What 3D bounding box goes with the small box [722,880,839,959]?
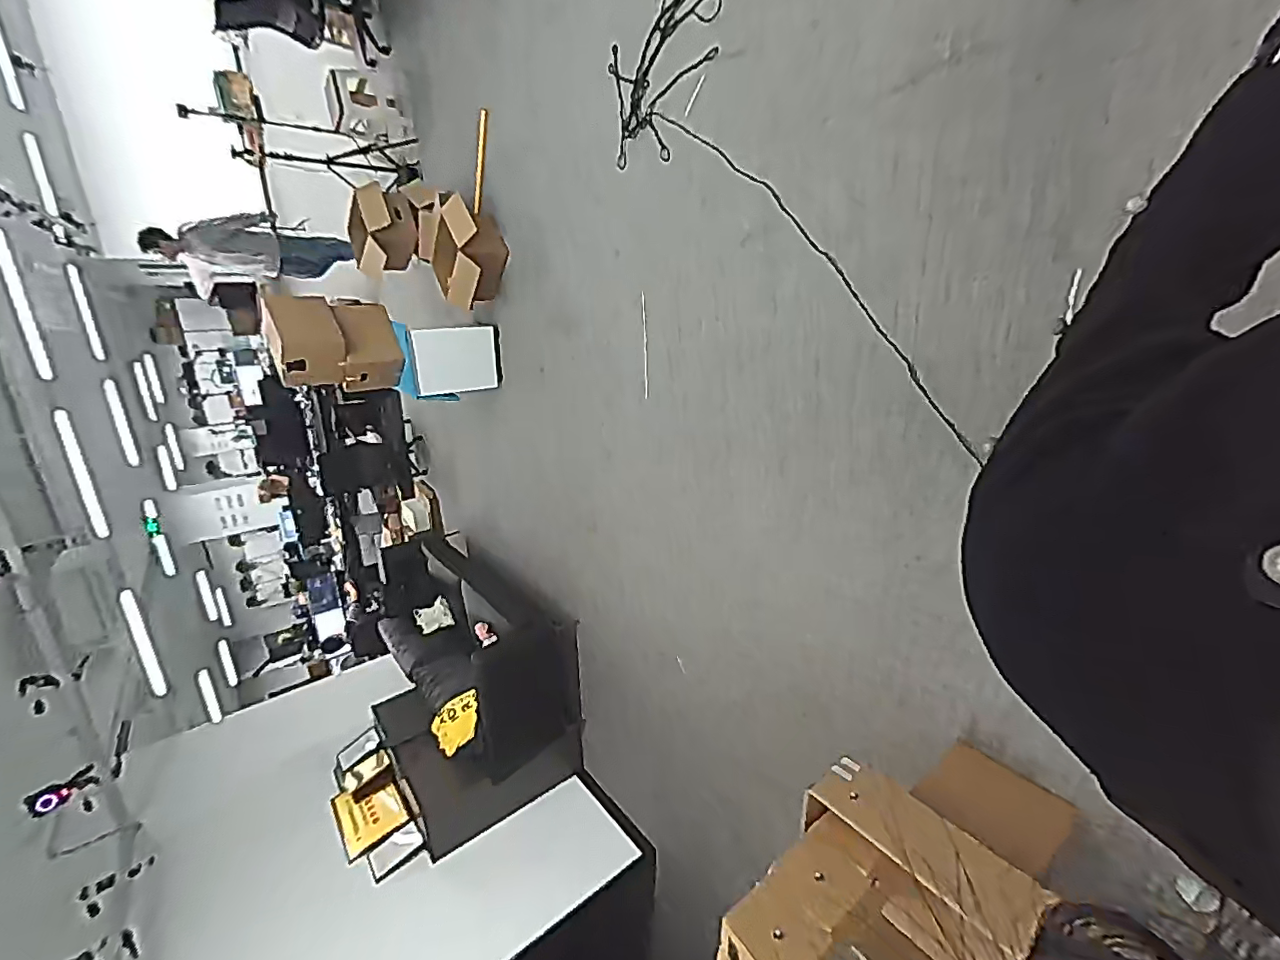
[{"bbox_3d":[0.309,1.041,1.202,0.179,0.176,0.168,26,122,47],"label":"small box"}]
